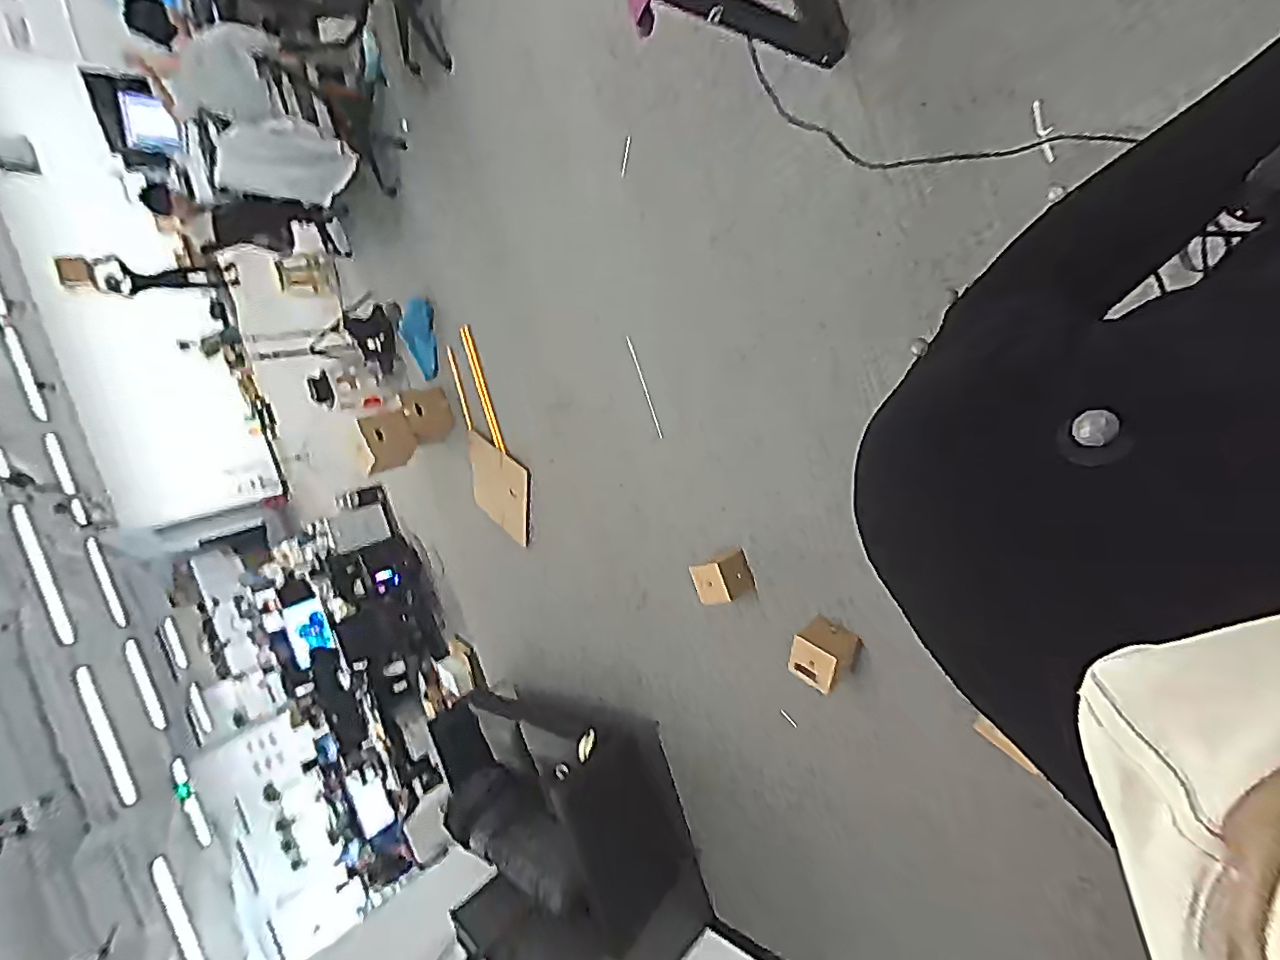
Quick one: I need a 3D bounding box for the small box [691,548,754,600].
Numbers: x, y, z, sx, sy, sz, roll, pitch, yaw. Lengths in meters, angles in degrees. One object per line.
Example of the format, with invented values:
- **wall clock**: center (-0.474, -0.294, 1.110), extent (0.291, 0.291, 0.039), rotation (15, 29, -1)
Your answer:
- **small box**: center (0.352, 0.391, 2.258), extent (0.179, 0.176, 0.168), rotation (-20, 90, 51)
